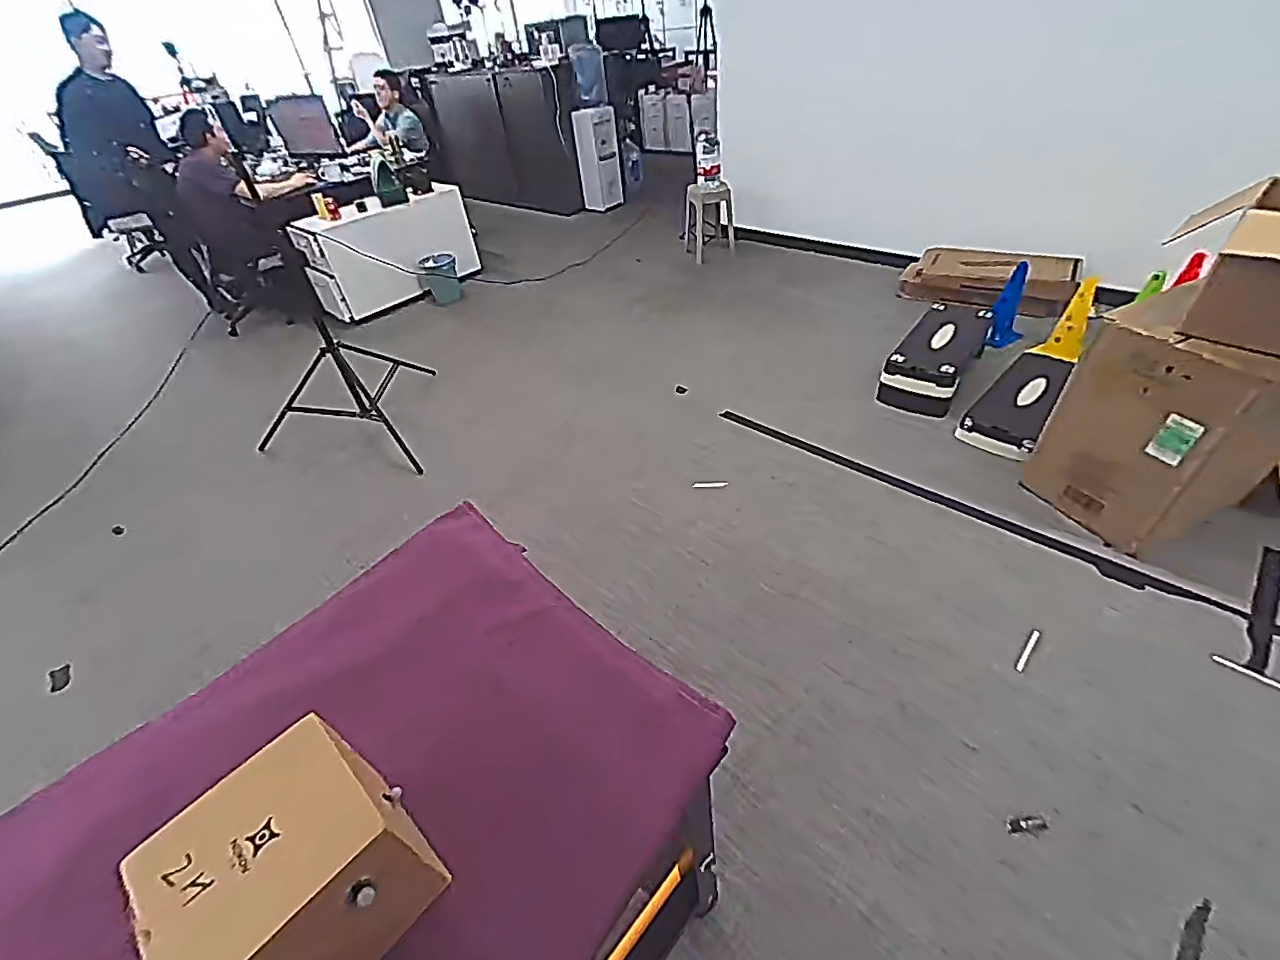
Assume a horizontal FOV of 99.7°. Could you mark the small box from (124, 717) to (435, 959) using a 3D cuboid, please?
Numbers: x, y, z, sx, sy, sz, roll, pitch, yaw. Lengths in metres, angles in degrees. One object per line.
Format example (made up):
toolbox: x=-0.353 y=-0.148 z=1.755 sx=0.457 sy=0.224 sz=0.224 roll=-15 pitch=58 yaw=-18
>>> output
small box: x=-0.323 y=0.378 z=0.518 sx=0.168 sy=0.176 sz=0.179 roll=26 pitch=51 yaw=35
